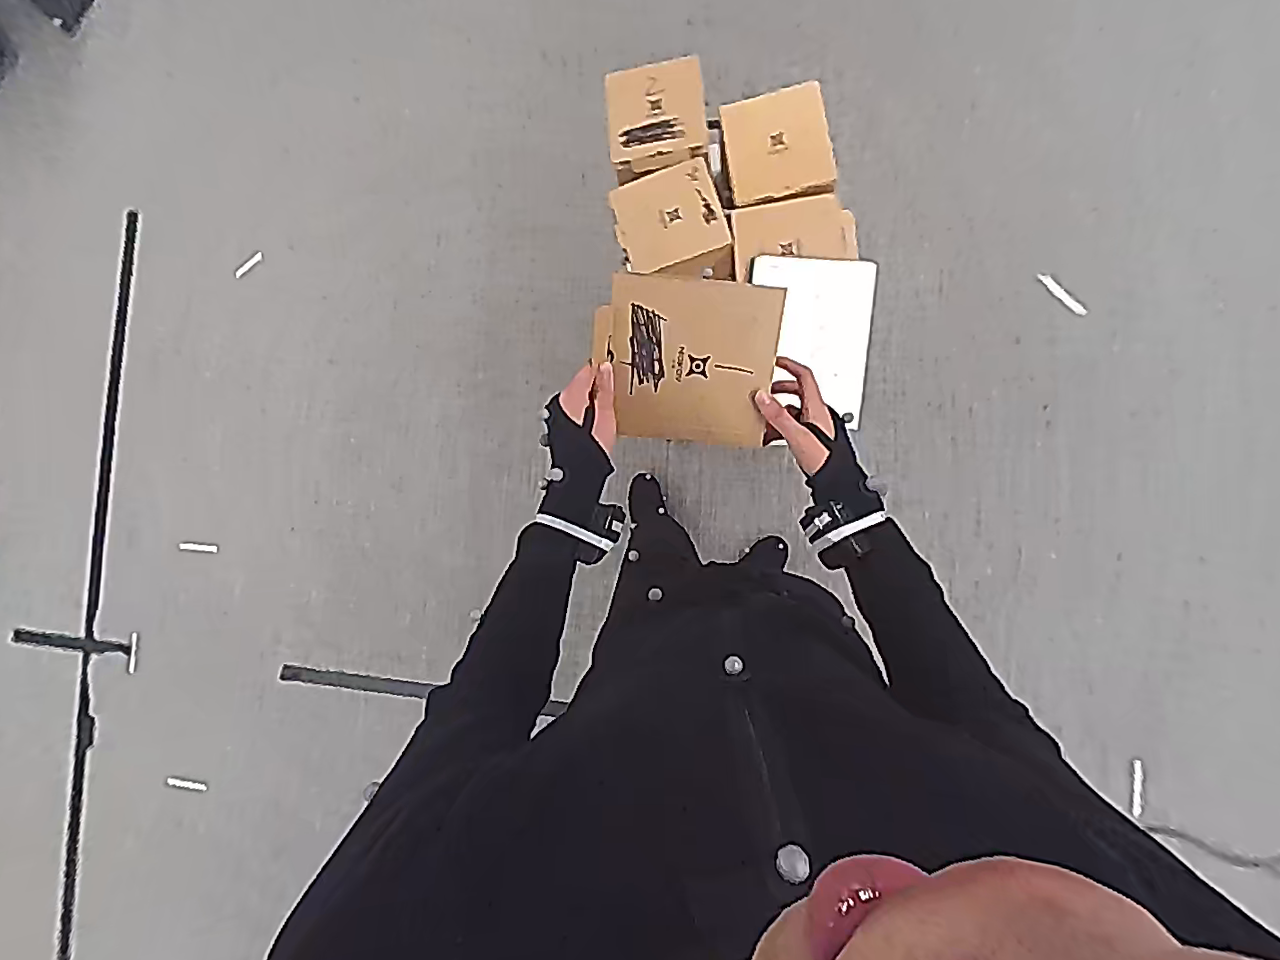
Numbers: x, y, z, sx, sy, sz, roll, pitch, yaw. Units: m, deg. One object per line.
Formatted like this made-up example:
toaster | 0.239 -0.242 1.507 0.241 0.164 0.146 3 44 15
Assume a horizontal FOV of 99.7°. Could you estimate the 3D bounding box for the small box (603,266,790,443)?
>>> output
small box | 0.059 -0.151 0.635 0.179 0.176 0.168 6 109 1
